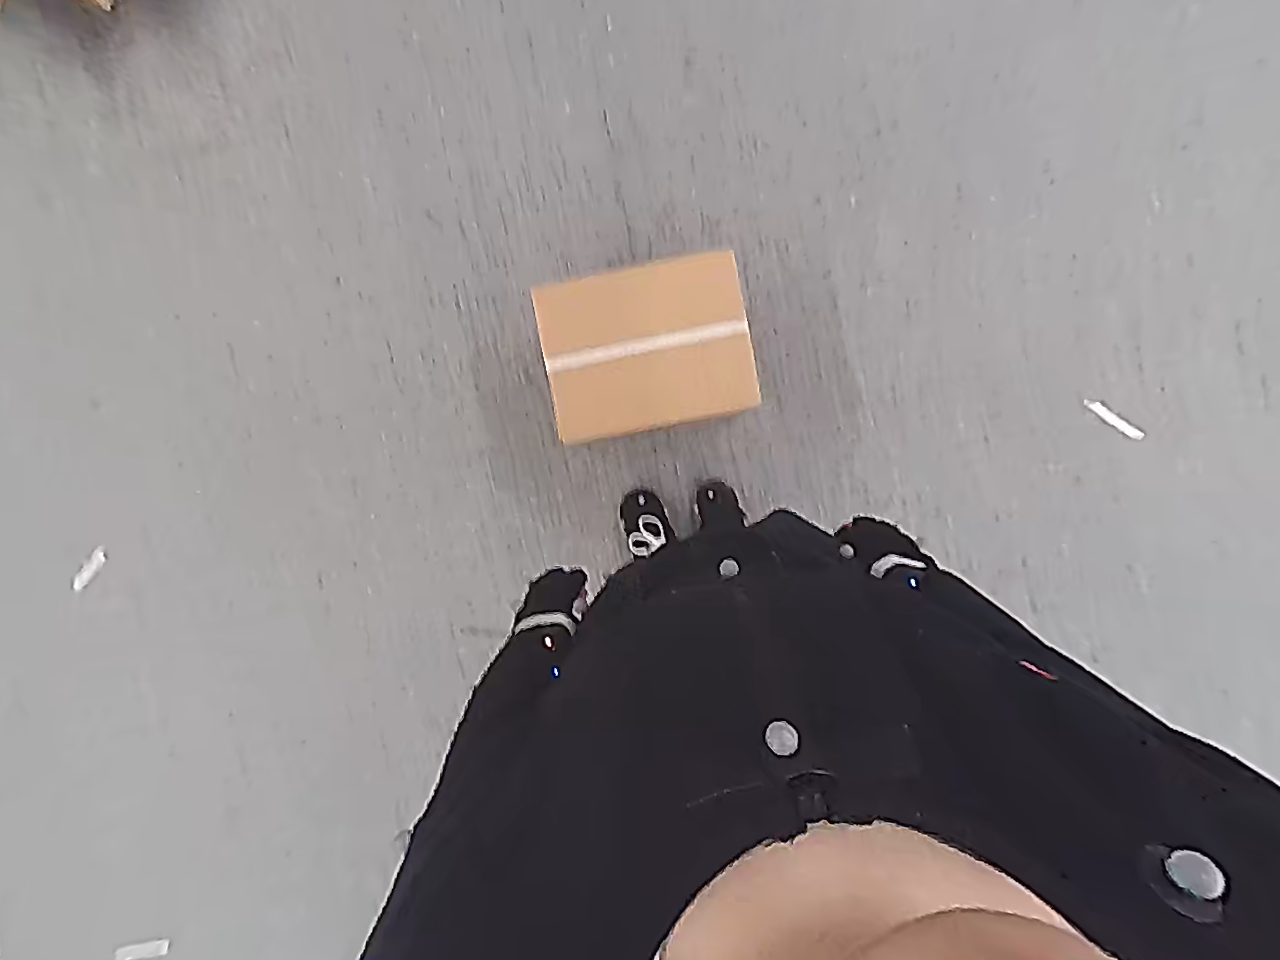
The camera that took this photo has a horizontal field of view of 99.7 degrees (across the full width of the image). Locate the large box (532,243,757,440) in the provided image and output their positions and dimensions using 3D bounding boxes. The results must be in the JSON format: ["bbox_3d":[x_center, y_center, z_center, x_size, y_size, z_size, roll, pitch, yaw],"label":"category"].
[{"bbox_3d":[0.010,-0.280,1.209,0.408,0.320,0.320,-11,94,1],"label":"large box"}]
